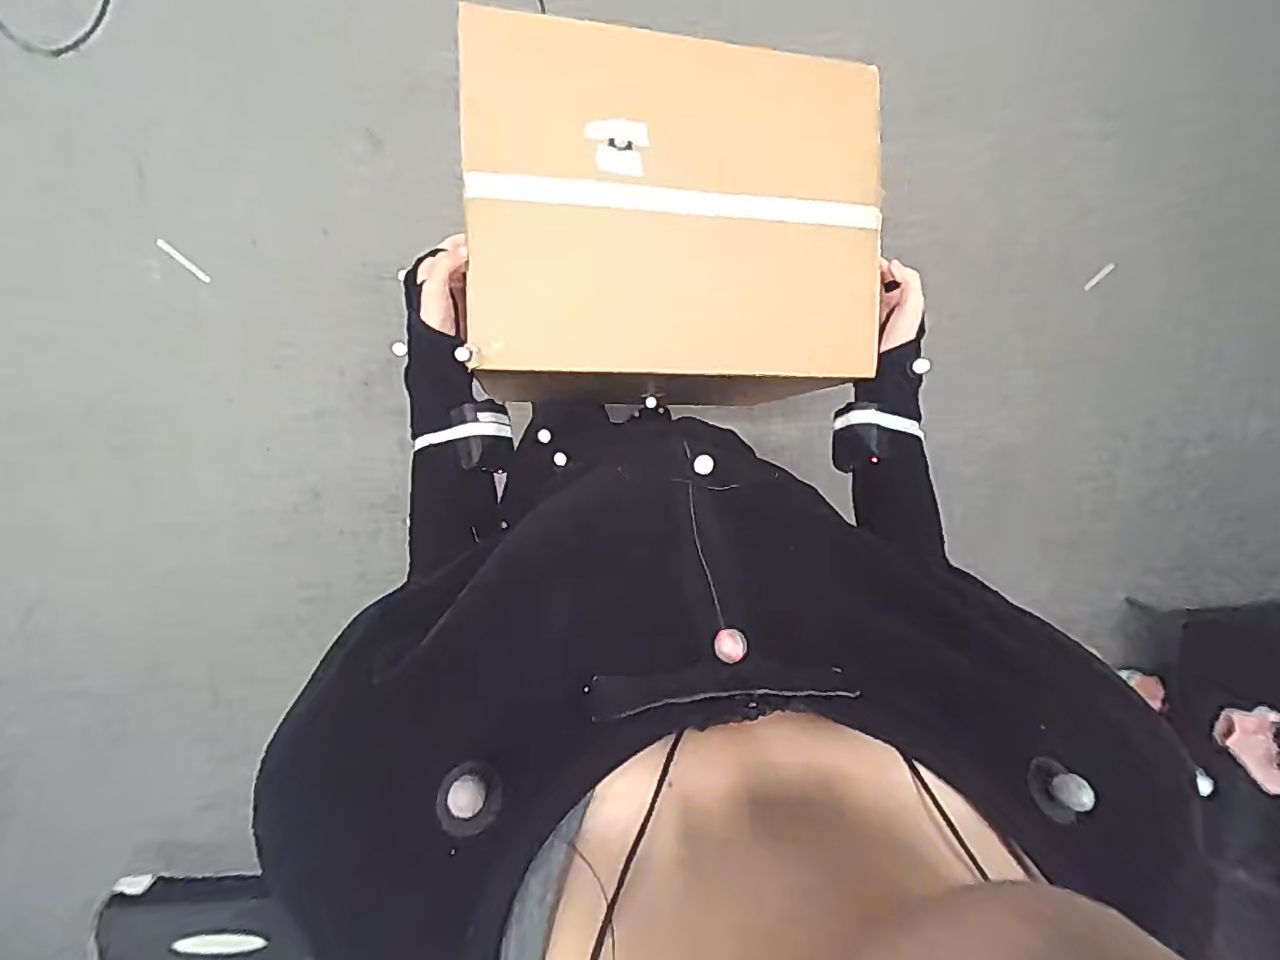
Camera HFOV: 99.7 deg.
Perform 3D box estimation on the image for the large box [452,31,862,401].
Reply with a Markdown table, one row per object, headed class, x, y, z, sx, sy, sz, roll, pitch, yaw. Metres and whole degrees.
| class | x | y | z | sx | sy | sz | roll | pitch | yaw |
| --- | --- | --- | --- | --- | --- | --- | --- | --- | --- |
| large box | 0.008 | -0.265 | 0.668 | 0.408 | 0.320 | 0.320 | -2 | 93 | -10 |
